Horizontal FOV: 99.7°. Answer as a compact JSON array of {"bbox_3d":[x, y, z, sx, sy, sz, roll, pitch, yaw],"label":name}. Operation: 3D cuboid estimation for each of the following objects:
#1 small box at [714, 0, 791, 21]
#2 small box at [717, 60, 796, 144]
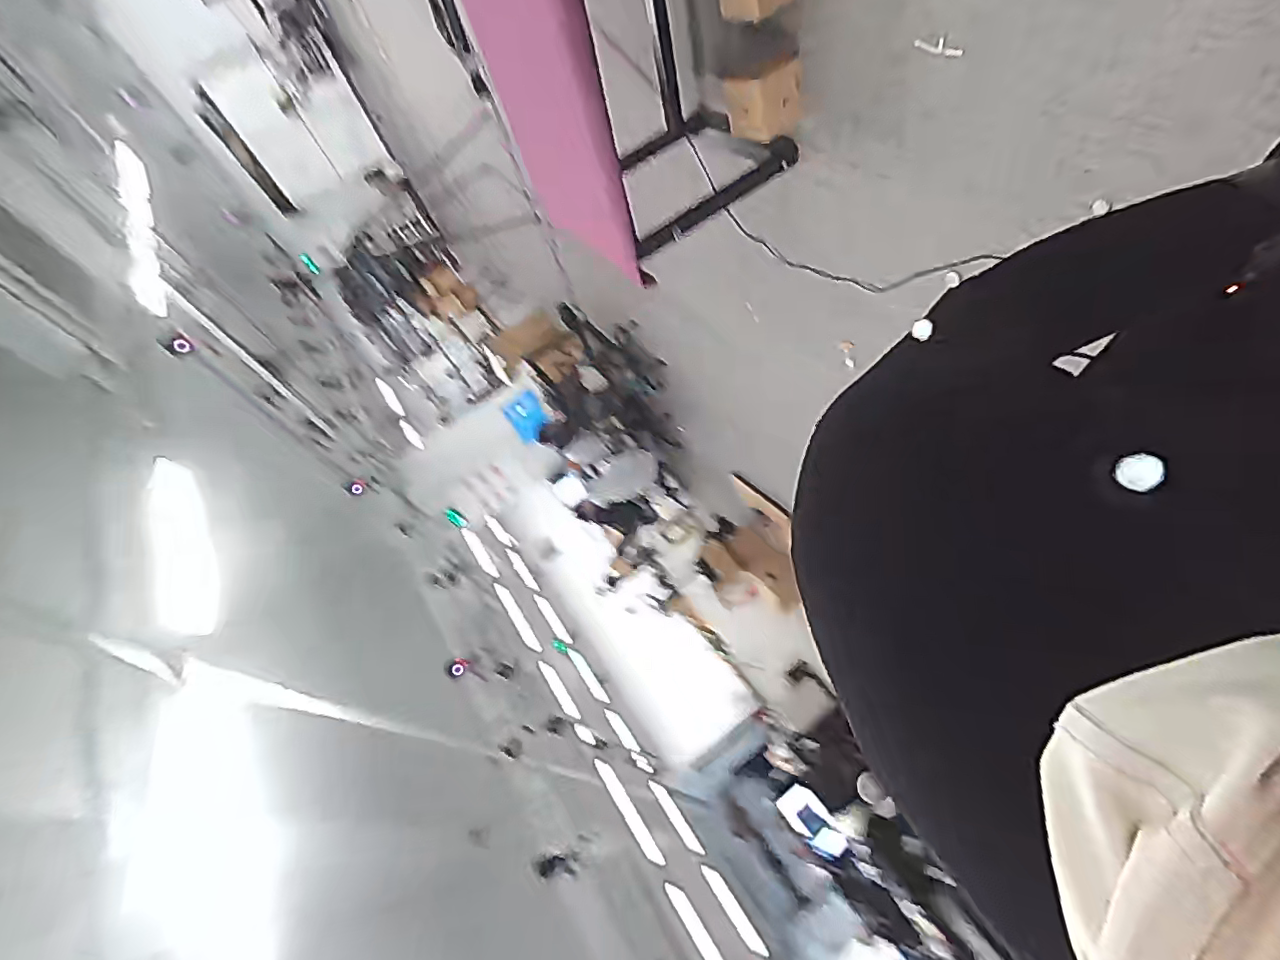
[{"bbox_3d":[0.306,-1.363,1.437,0.168,0.176,0.179,47,168,40],"label":"small box"},{"bbox_3d":[0.373,-1.185,1.691,0.179,0.176,0.168,45,166,41],"label":"small box"}]
